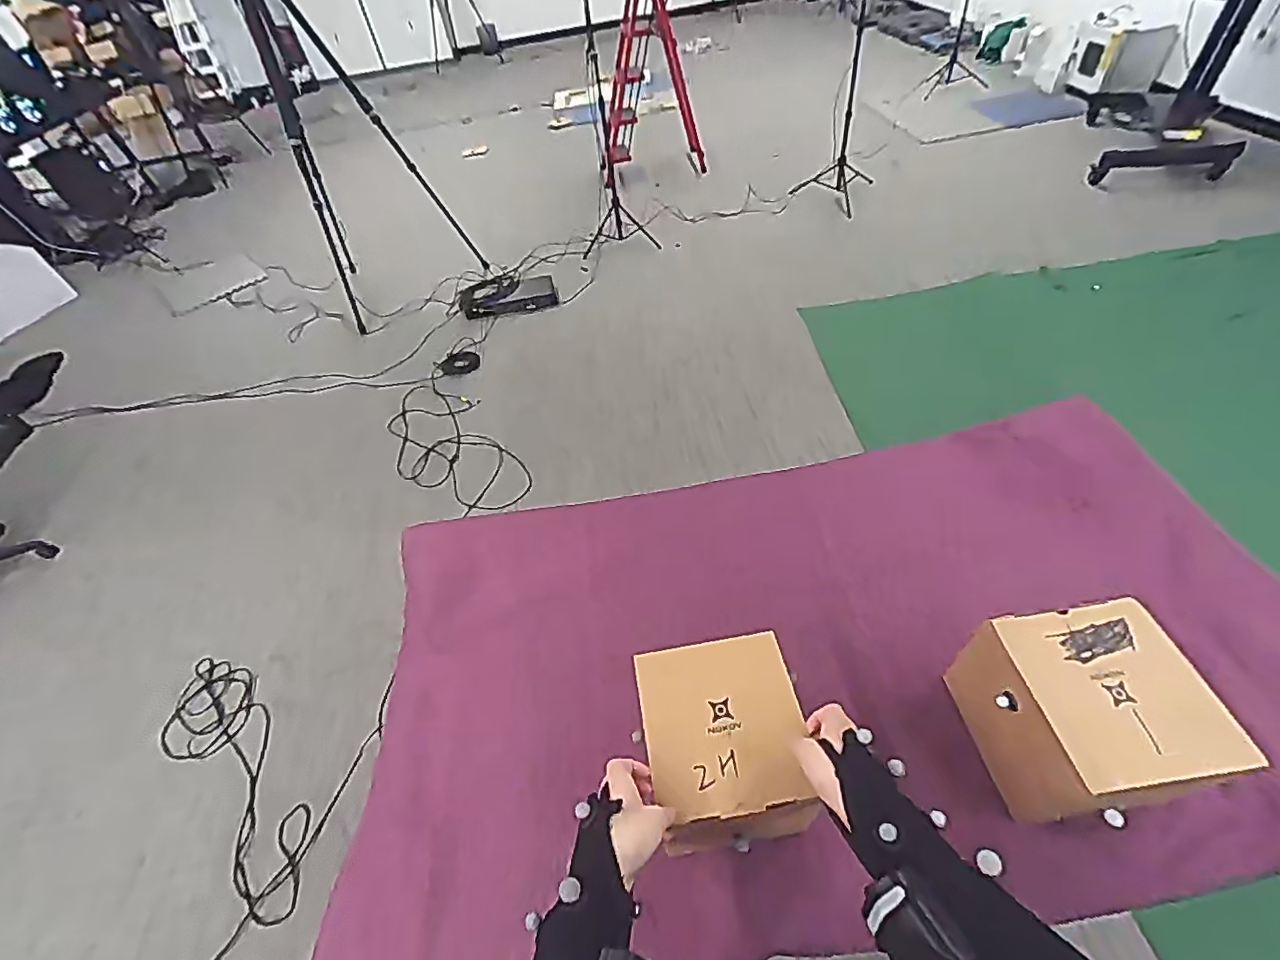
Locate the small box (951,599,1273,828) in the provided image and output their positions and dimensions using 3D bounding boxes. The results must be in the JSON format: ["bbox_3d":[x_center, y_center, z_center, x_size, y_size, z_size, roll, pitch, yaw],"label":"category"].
[{"bbox_3d":[0.480,0.258,0.593,0.168,0.176,0.179,-9,49,1],"label":"small box"}]

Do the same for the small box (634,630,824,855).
[{"bbox_3d":[0.089,0.299,0.616,0.168,0.176,0.179,-10,47,0],"label":"small box"}]
